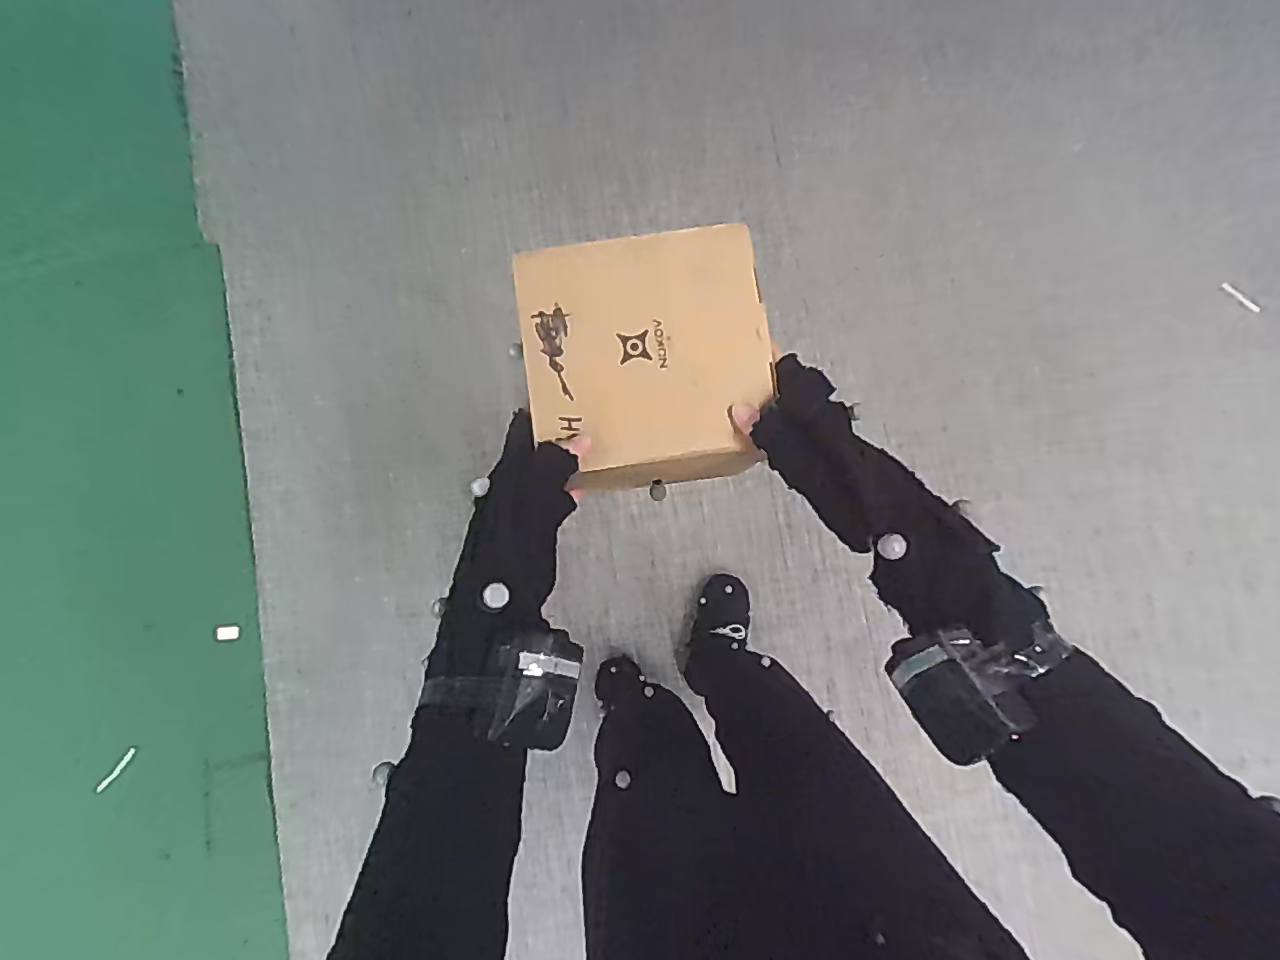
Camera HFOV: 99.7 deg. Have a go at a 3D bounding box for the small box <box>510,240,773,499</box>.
[{"bbox_3d":[-0.002,-0.079,0.469,0.179,0.176,0.168,-8,83,-1],"label":"small box"}]
